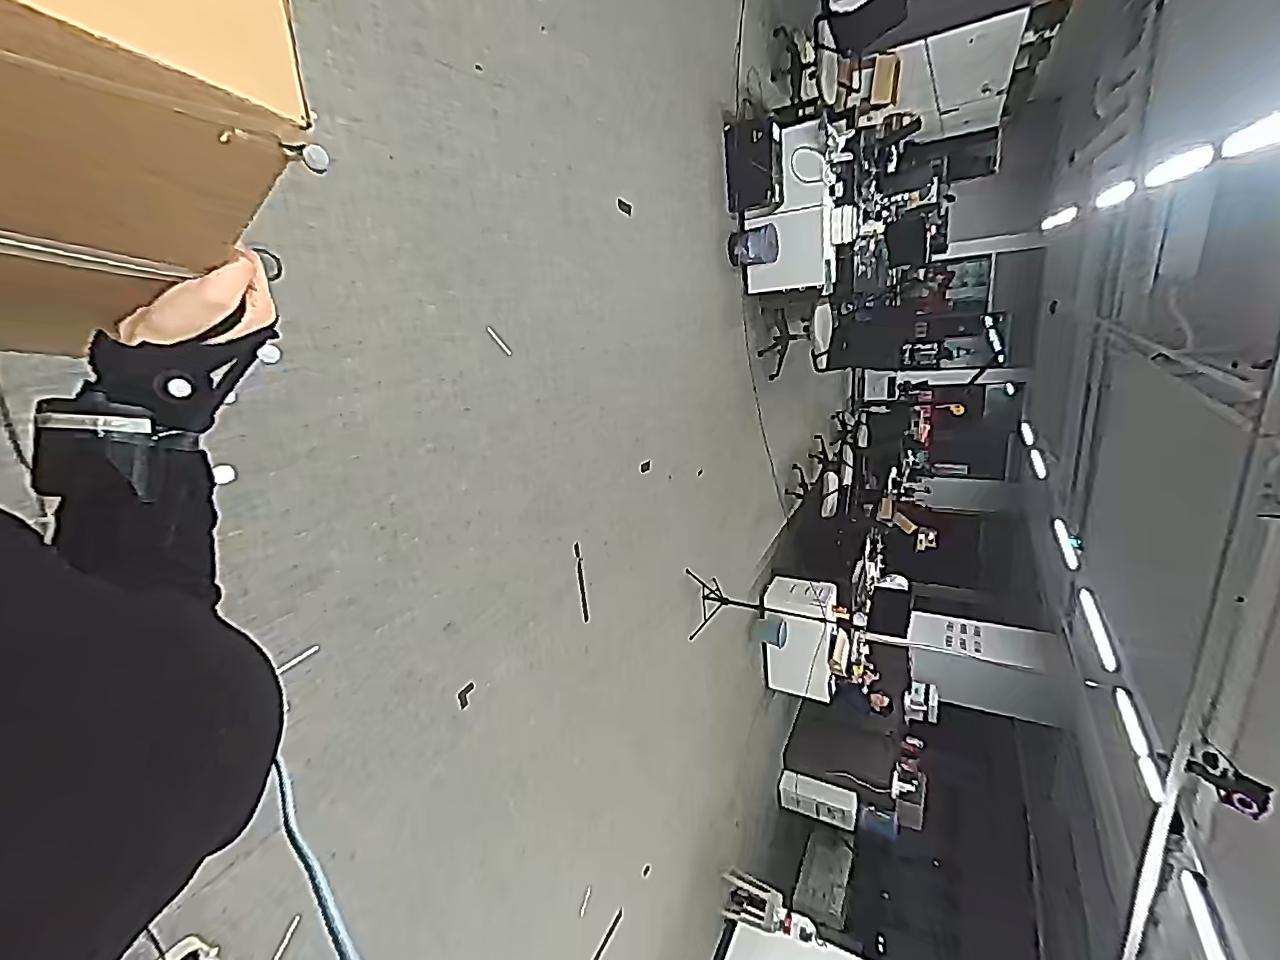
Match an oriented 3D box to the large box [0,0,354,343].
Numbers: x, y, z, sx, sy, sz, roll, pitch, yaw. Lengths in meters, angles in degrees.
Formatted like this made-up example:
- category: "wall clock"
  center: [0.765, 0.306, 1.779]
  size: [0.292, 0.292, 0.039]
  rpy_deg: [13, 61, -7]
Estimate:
- category: "large box"
  center: [-0.409, -0.278, 0.206]
  size: [0.408, 0.320, 0.320]
  rpy_deg: [-8, 83, -54]
